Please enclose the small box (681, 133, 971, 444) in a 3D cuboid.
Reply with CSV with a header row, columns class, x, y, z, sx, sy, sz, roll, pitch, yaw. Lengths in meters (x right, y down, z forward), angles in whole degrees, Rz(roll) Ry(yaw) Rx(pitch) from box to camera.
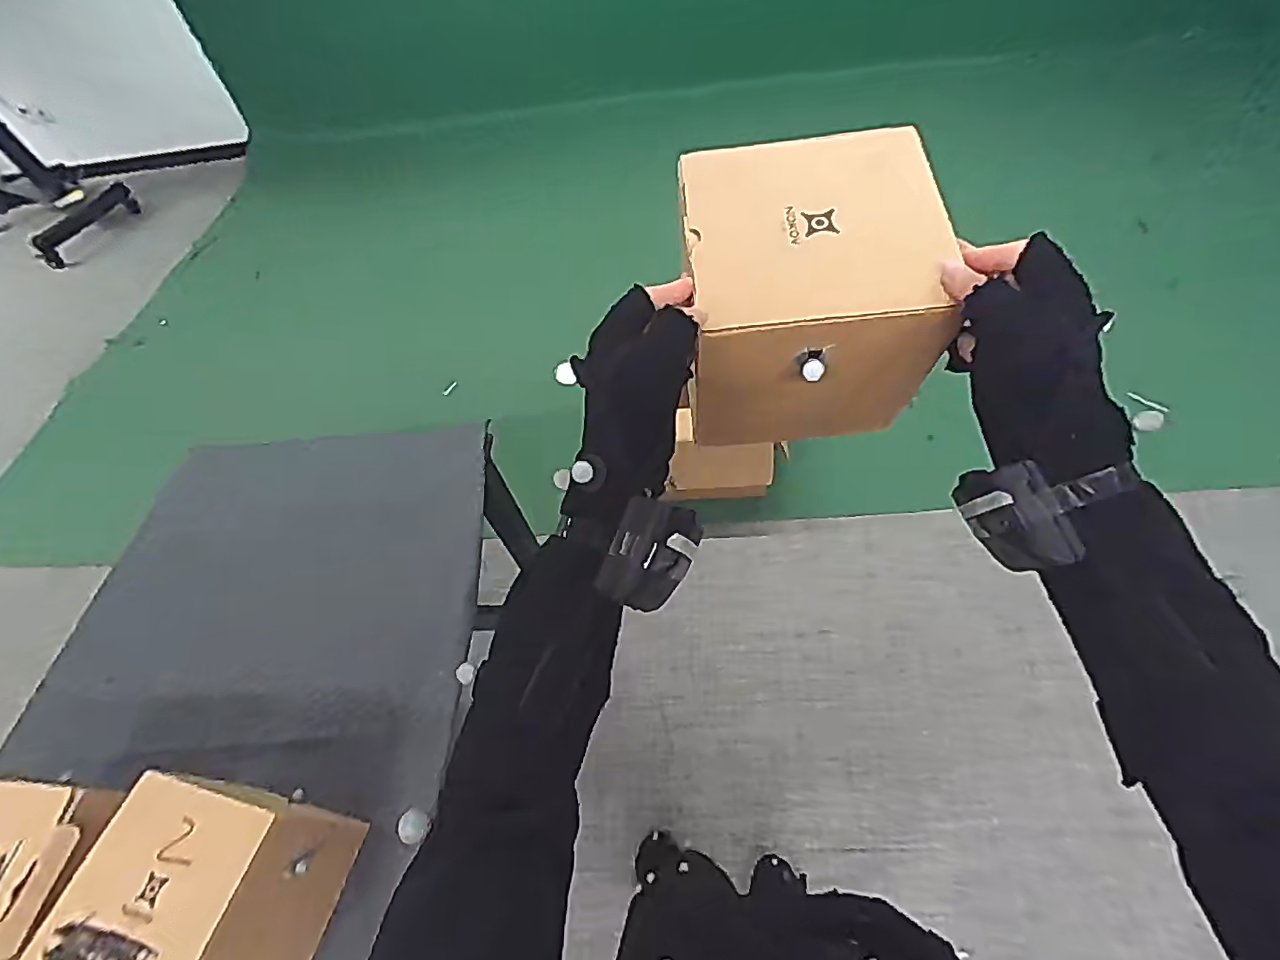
class,x,y,z,sx,sy,sz,roll,pitch,yaw
small box,0.127,-0.142,0.447,0.179,0.176,0.168,-5,67,5
